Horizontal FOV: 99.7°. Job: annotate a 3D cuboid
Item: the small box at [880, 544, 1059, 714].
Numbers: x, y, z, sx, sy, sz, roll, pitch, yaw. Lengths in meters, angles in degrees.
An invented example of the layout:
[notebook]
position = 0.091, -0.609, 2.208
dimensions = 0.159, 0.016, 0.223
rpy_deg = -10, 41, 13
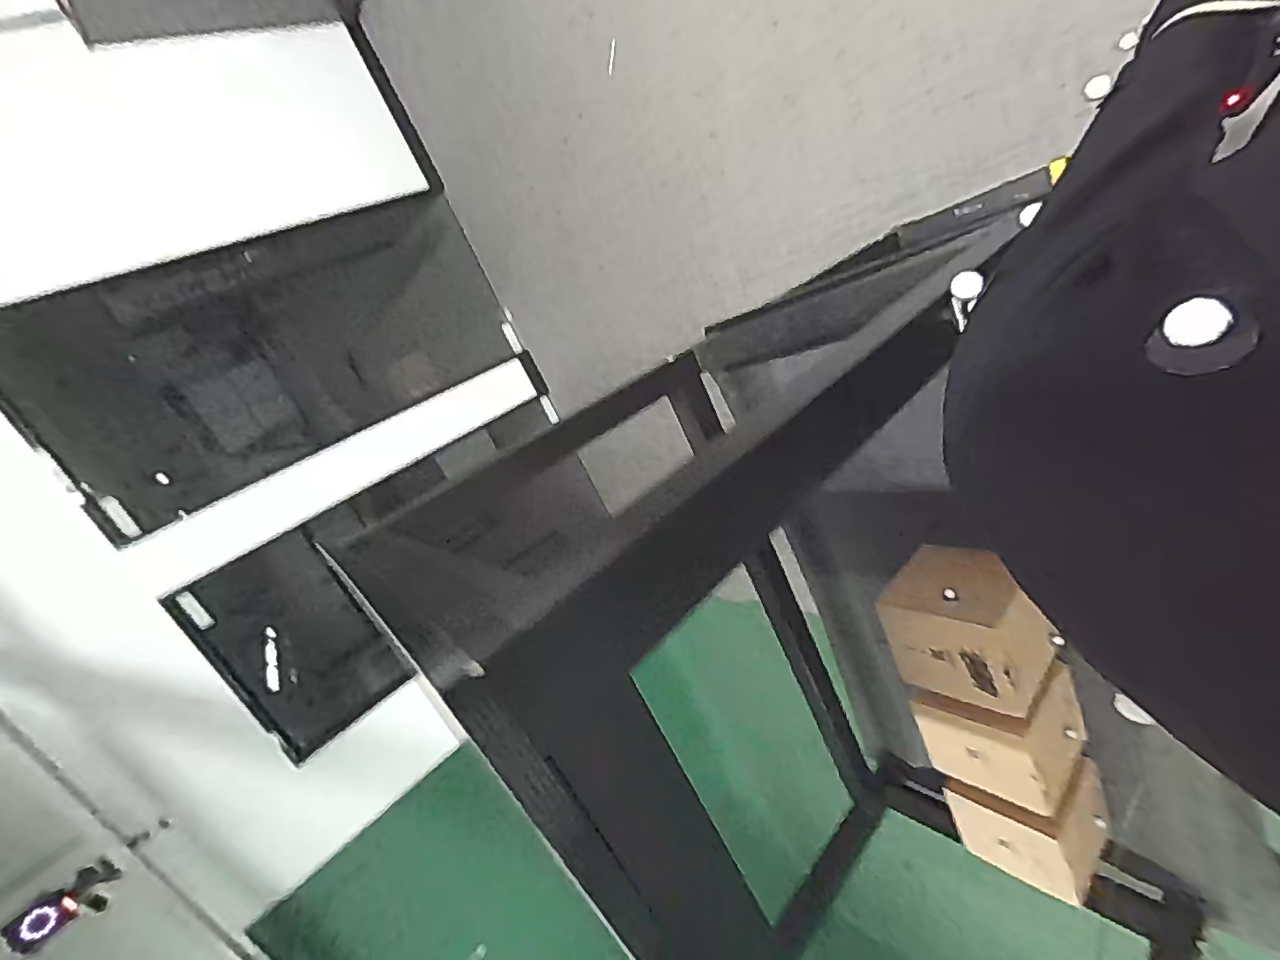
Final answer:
[small box]
position = 0.512, 0.215, 0.833
dimensions = 0.179, 0.176, 0.168
rpy_deg = 1, 121, 57
